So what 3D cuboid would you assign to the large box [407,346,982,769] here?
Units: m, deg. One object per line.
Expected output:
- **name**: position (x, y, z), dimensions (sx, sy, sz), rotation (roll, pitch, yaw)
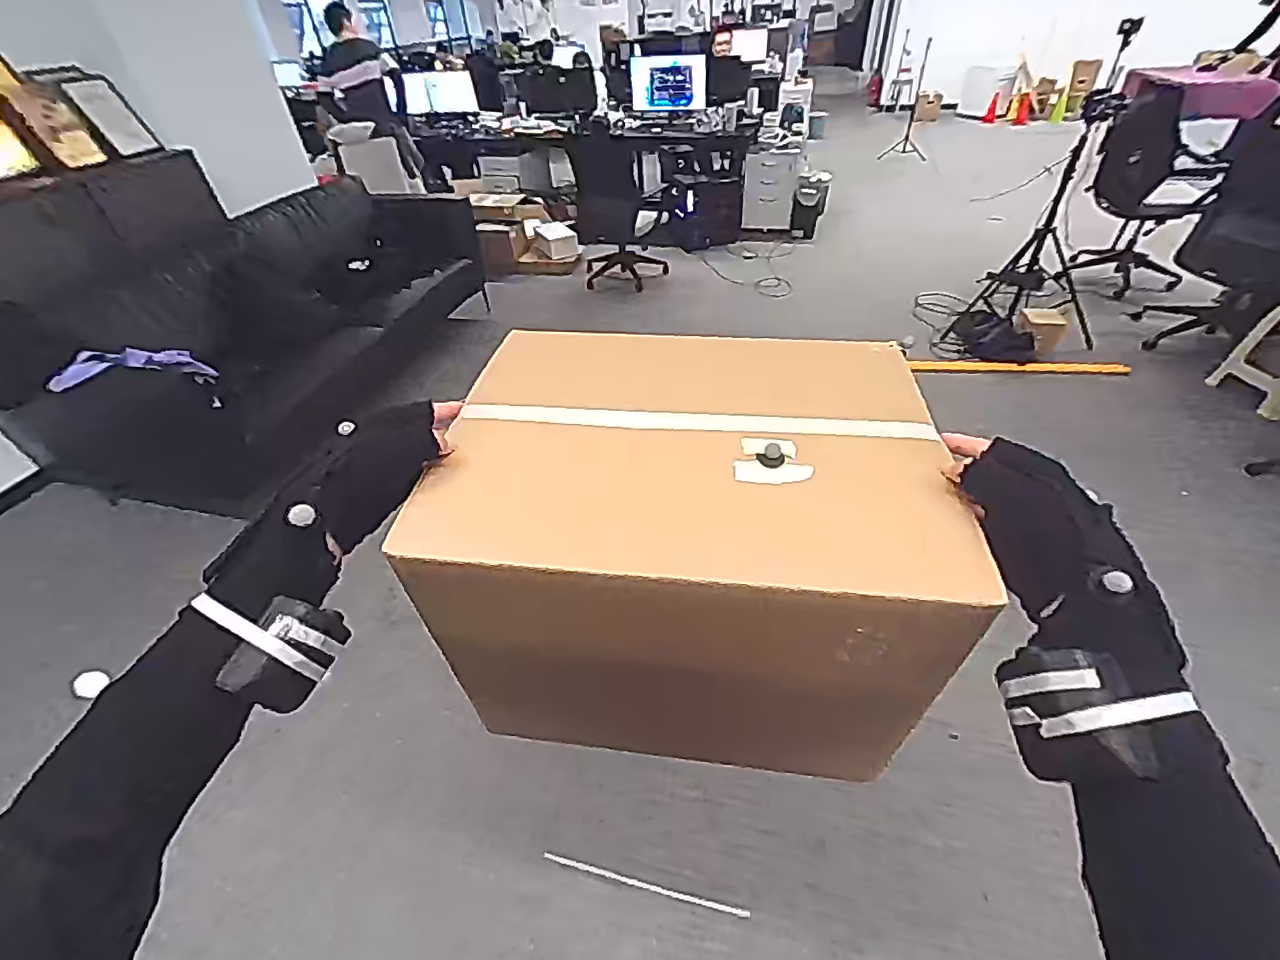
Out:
- **large box**: position (0.046, 0.073, 0.575), dimensions (0.408, 0.320, 0.320), rotation (4, 44, 6)
